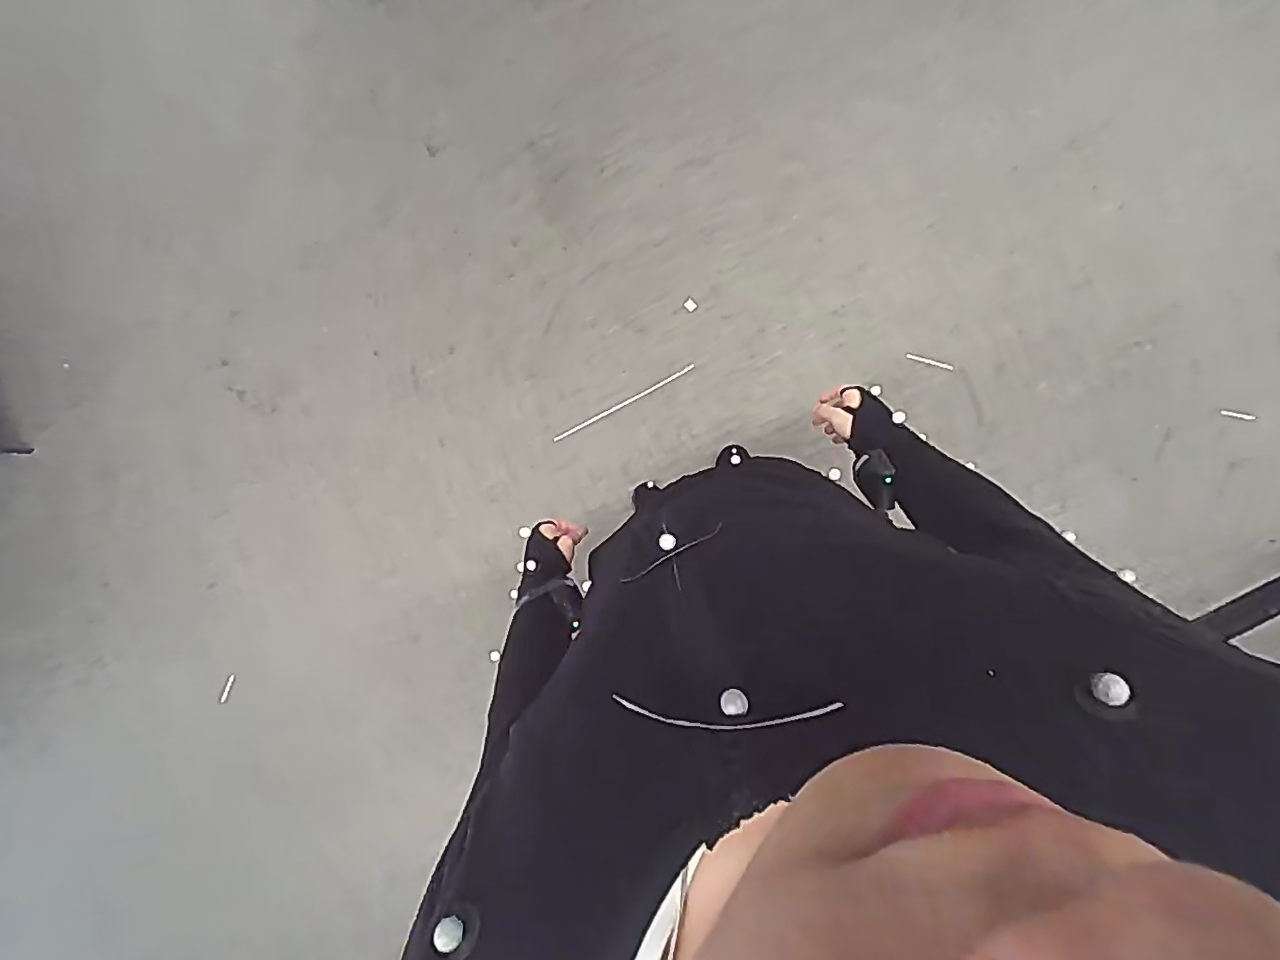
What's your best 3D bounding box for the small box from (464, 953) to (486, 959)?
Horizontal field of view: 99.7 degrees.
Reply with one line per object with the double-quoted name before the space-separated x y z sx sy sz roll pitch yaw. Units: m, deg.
"small box" -0.536 1.571 1.604 0.179 0.176 0.168 -25 89 2
